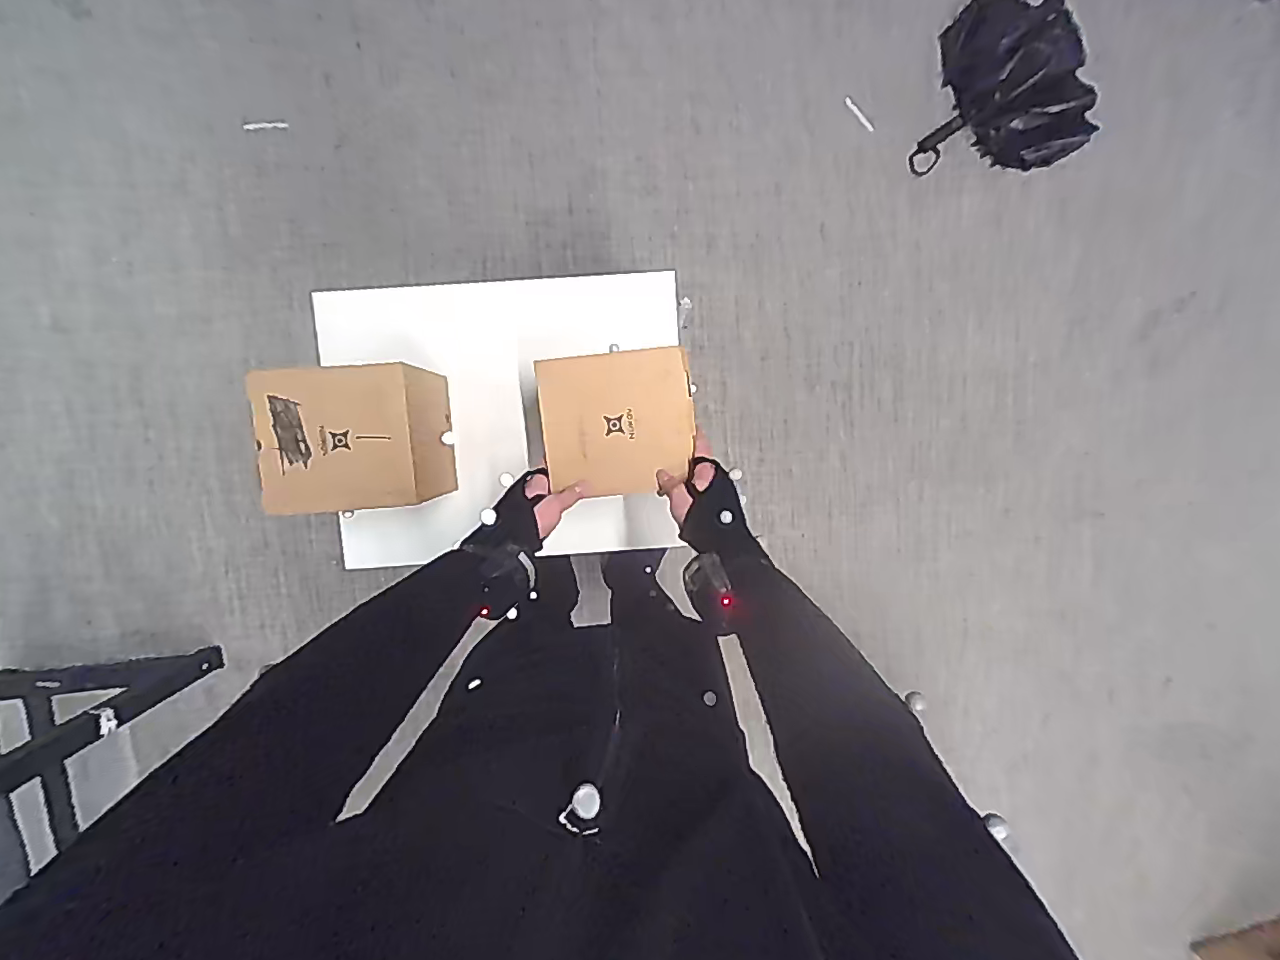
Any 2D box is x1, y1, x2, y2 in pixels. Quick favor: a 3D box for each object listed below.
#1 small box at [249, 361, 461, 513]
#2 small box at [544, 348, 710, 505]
[{"bbox_3d":[-0.339,-0.054,0.676,0.179,0.176,0.168,-4,96,-4],"label":"small box"},{"bbox_3d":[-0.015,-0.067,0.688,0.179,0.176,0.168,-7,95,1],"label":"small box"}]
